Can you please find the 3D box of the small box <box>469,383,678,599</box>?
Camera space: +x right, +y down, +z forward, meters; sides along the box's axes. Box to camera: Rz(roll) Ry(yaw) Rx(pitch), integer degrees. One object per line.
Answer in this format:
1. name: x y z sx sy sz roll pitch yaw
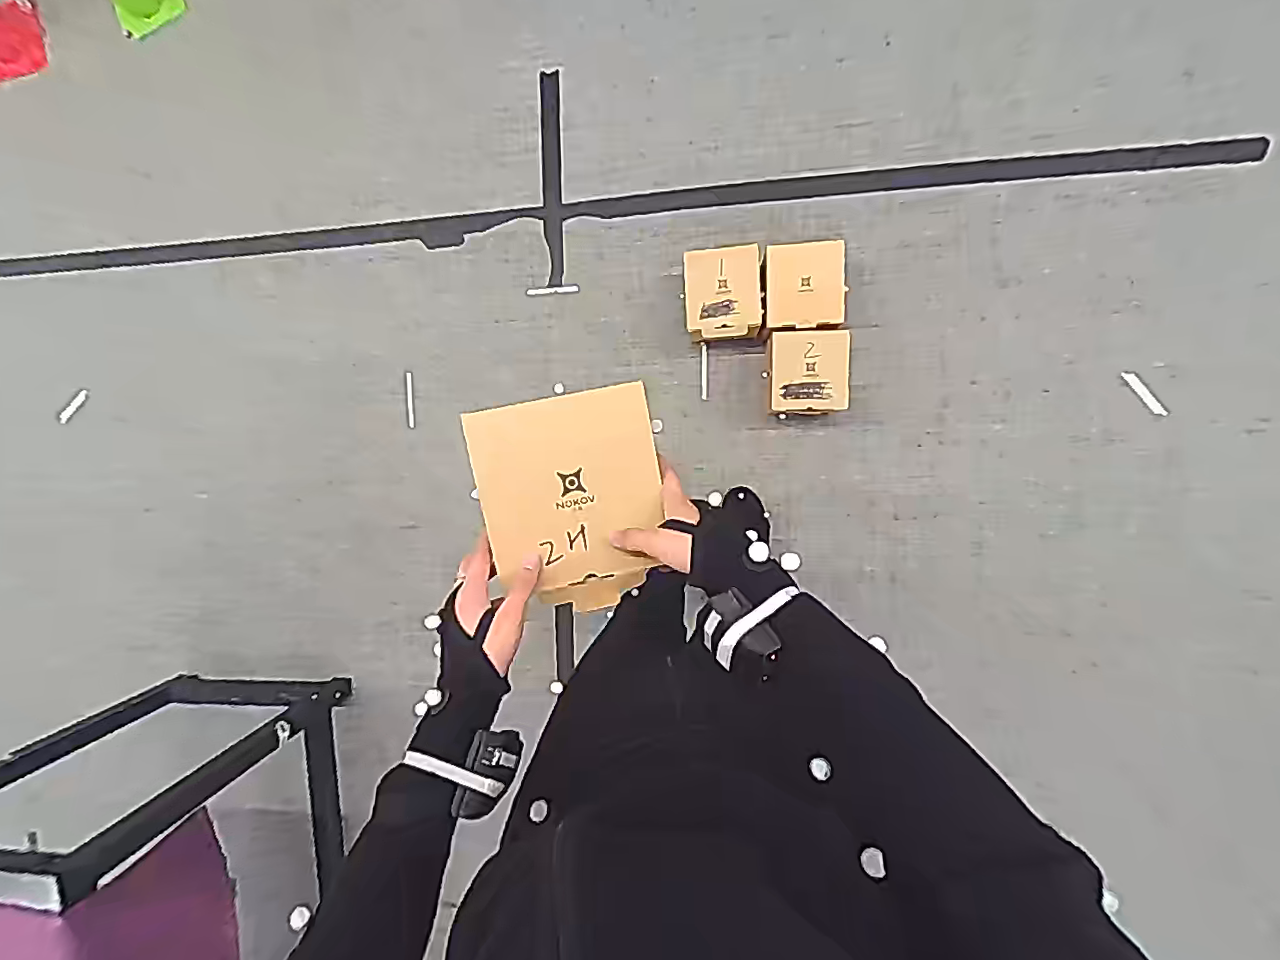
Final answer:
1. small box: -0.067 0.003 0.570 0.168 0.176 0.179 -11 98 -5
